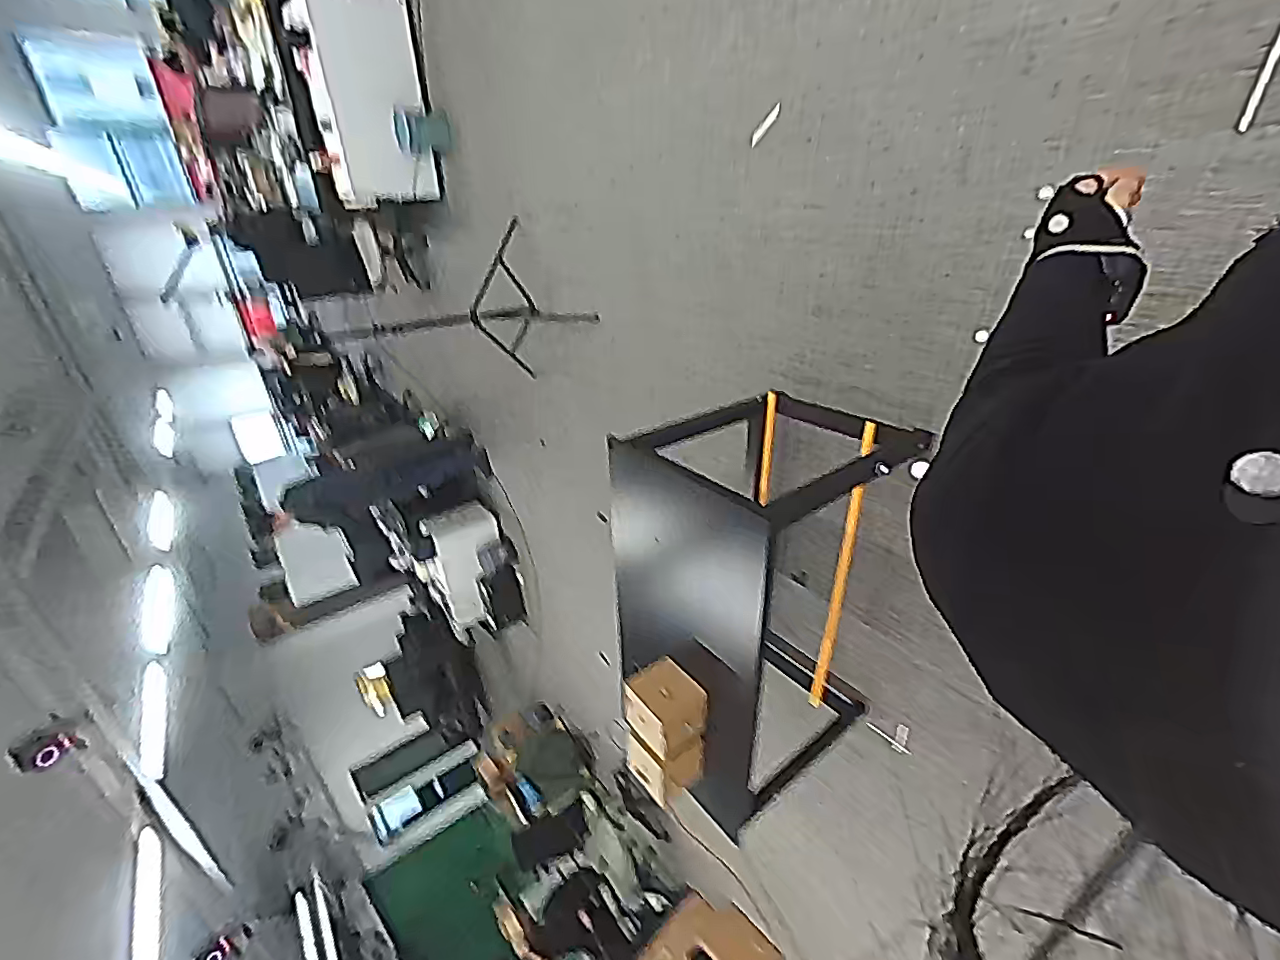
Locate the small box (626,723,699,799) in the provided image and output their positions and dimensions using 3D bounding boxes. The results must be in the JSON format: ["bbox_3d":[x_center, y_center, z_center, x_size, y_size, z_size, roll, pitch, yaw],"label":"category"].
[{"bbox_3d":[0.072,0.851,1.711,0.168,0.176,0.179,29,129,46],"label":"small box"}]

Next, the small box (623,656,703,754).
[{"bbox_3d":[0.070,0.661,1.611,0.179,0.176,0.168,31,132,44],"label":"small box"}]
